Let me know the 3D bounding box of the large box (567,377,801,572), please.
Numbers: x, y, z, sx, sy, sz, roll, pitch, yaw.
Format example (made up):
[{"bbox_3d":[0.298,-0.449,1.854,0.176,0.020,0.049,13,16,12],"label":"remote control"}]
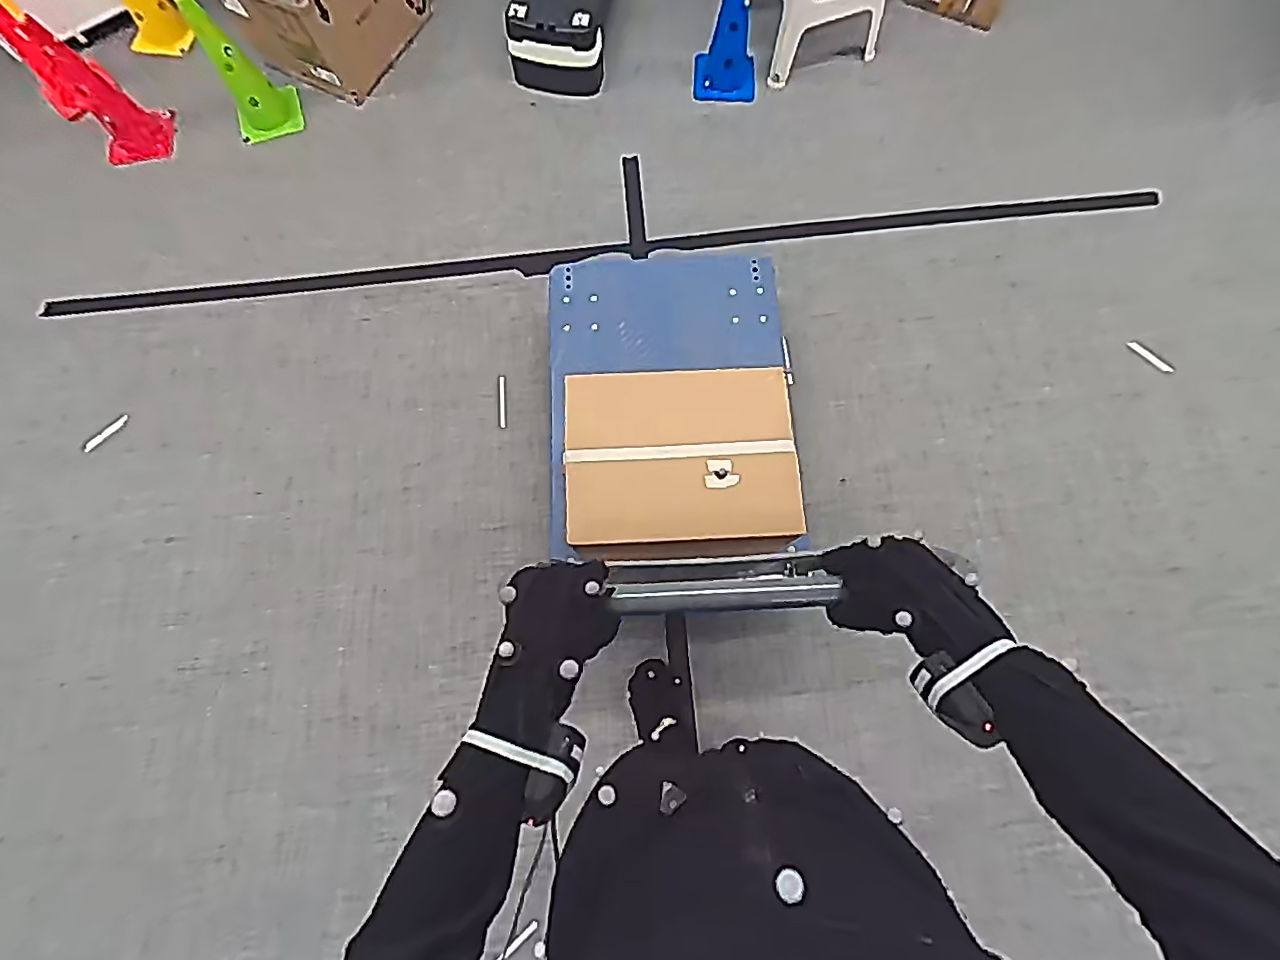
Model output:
[{"bbox_3d":[0.069,0.005,1.109,0.408,0.320,0.320,-3,75,-2],"label":"large box"}]
